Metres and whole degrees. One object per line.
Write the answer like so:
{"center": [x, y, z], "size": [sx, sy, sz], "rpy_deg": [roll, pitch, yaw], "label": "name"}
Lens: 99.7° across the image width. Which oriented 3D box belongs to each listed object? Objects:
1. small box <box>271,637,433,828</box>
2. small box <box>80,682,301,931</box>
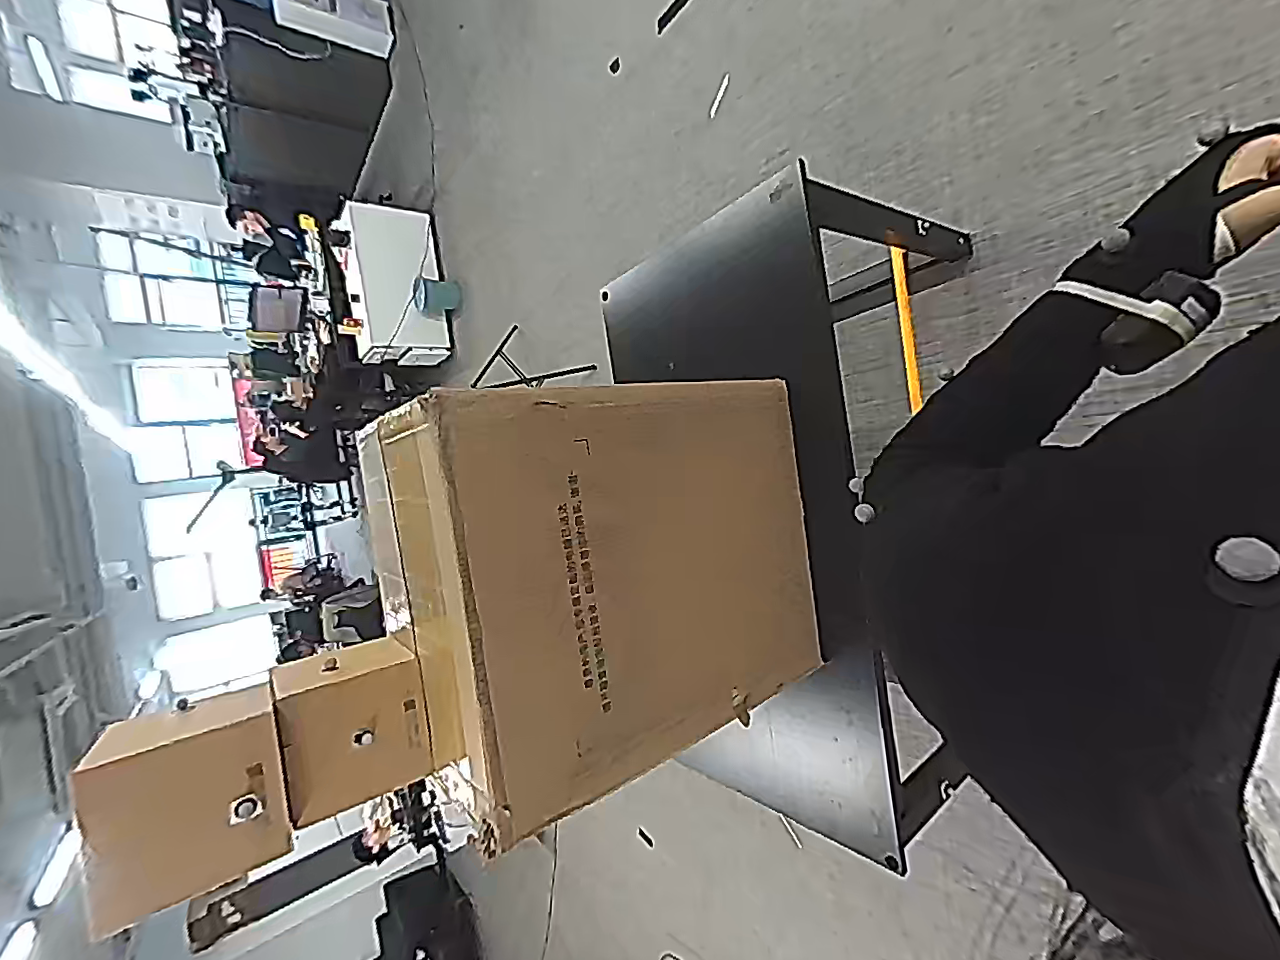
{"center": [-0.401, 0.334, 0.761], "size": [0.179, 0.176, 0.168], "rpy_deg": [-6, 92, 53], "label": "small box"}
{"center": [-0.511, 0.356, 0.637], "size": [0.179, 0.176, 0.168], "rpy_deg": [-11, 89, 53], "label": "small box"}
